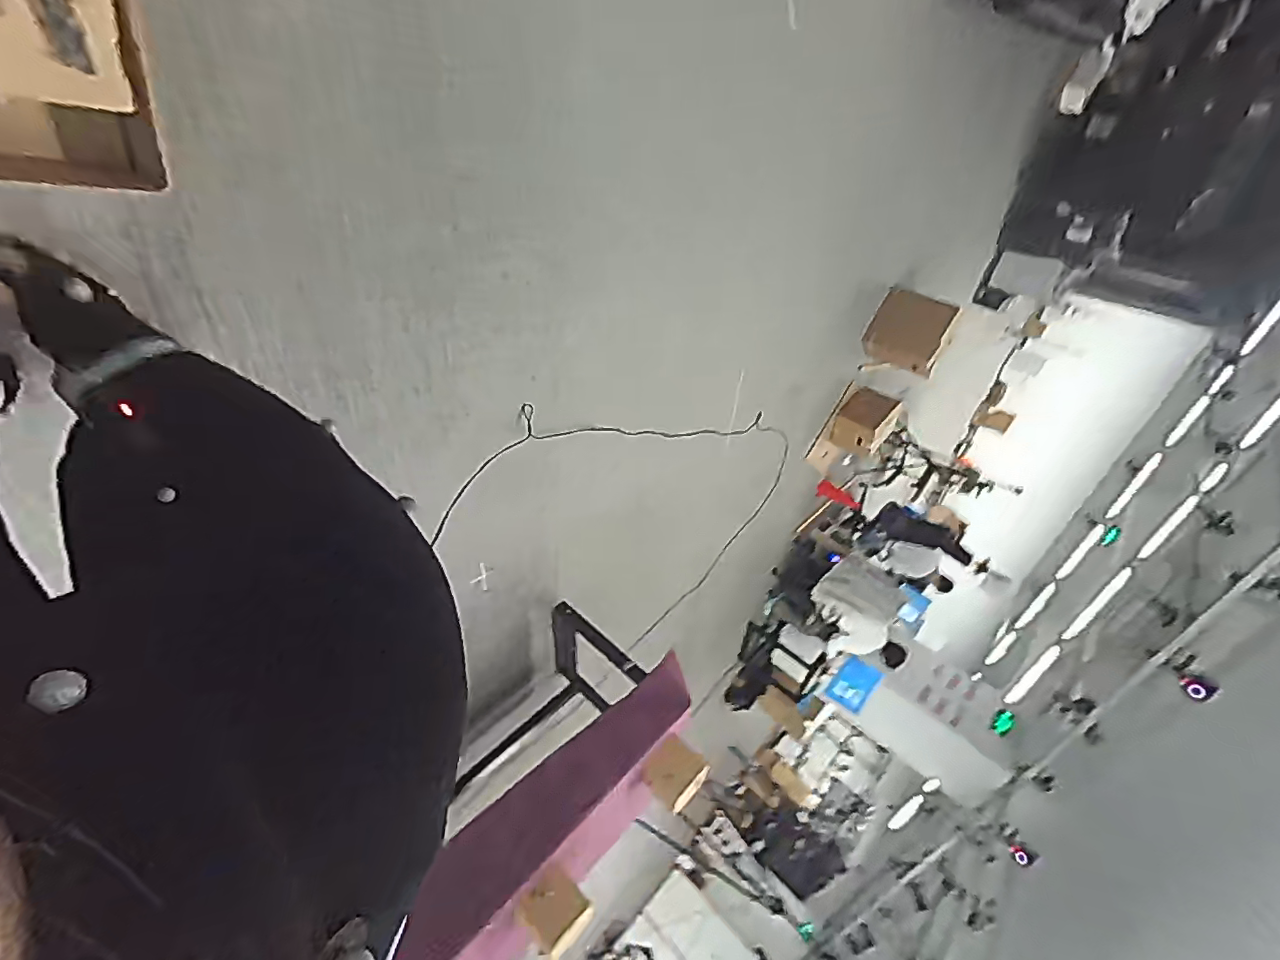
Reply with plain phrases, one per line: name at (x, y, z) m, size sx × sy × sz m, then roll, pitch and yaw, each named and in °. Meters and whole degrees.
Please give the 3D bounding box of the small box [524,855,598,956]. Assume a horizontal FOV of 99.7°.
small box at (-0.253, 1.344, 1.717) m, size 0.168 × 0.176 × 0.179 m, roll -31°, pitch 141°, yaw -38°

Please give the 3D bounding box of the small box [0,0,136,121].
small box at (-0.631, -0.462, 0.511) m, size 0.179 × 0.176 × 0.168 m, roll -22°, pitch 136°, yaw -43°
